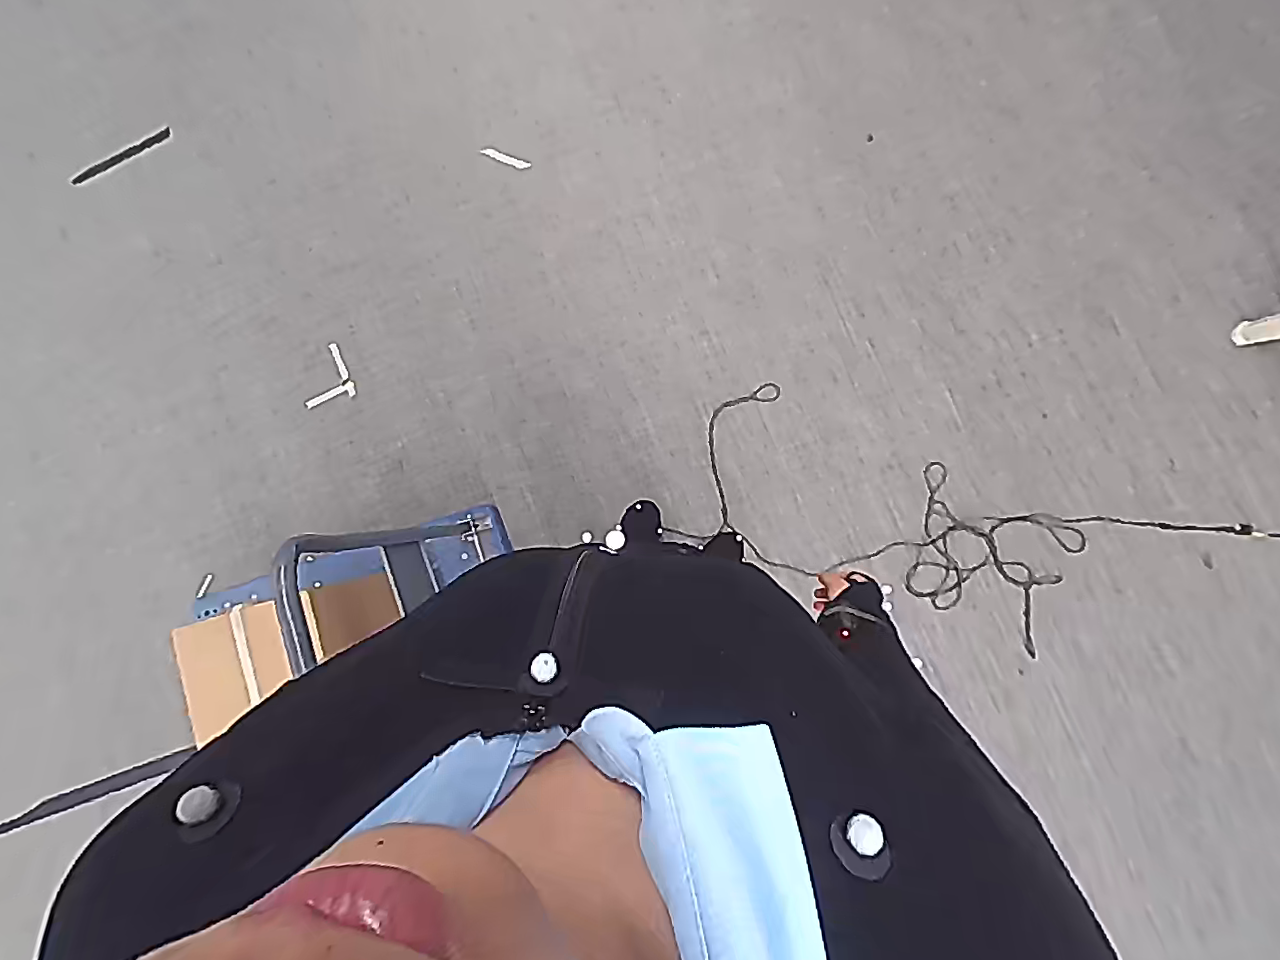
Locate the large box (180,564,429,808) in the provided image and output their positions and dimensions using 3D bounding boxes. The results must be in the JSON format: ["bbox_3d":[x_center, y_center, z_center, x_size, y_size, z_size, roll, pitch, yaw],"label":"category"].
[{"bbox_3d":[-0.744,0.444,1.251,0.320,0.320,0.408,-16,87,5],"label":"large box"}]
